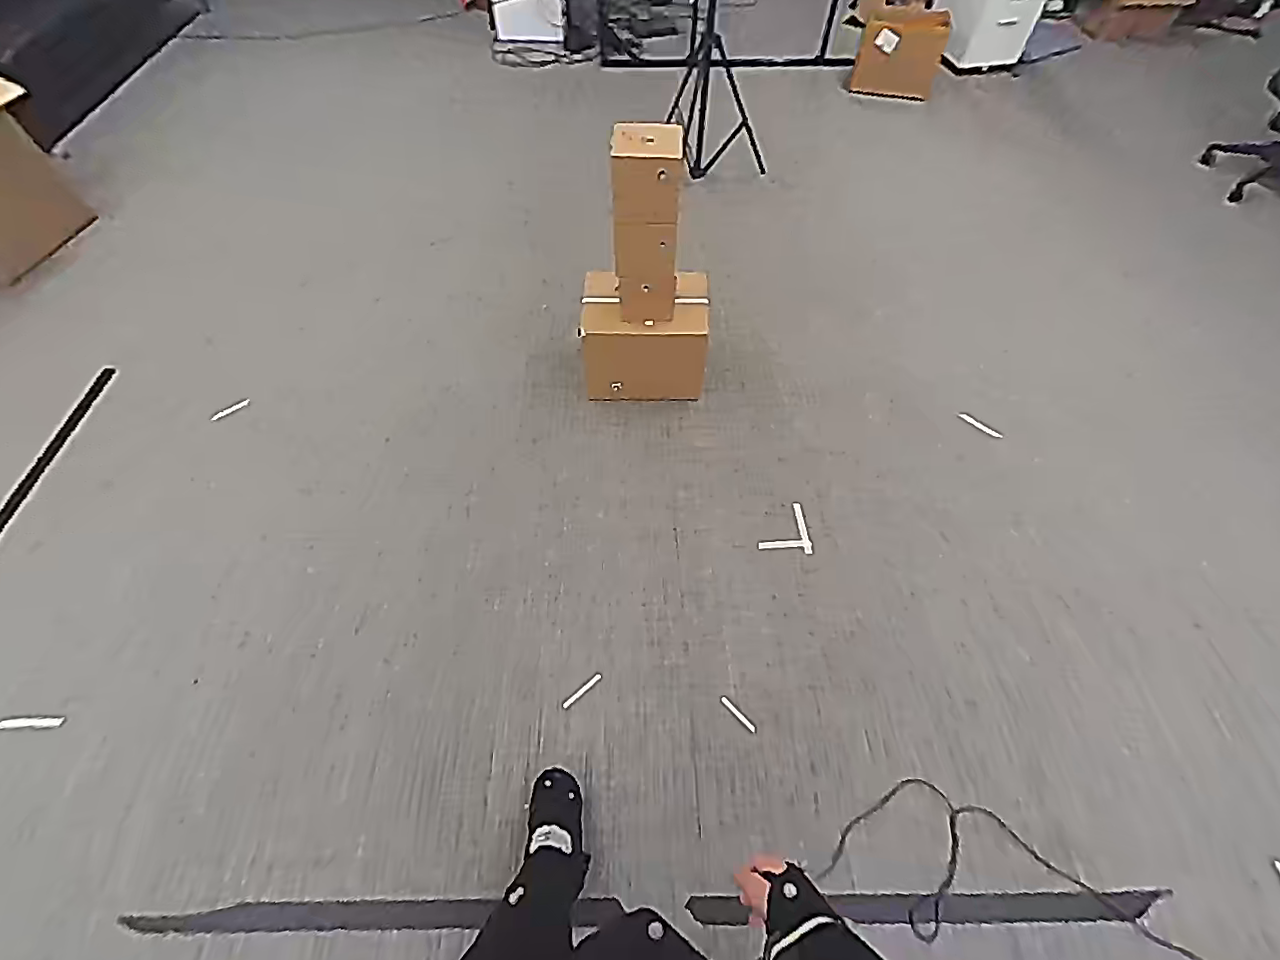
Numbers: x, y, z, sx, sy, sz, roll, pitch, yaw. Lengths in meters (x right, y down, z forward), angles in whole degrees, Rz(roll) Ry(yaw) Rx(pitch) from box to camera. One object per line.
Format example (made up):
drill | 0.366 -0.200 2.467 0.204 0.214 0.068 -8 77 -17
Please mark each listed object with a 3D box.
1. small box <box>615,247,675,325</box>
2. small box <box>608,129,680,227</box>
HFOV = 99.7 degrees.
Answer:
small box | 0.012 -0.600 1.682 0.179 0.176 0.168 -1 58 -2
small box | 0.011 -0.782 1.407 0.179 0.176 0.168 1 57 1
